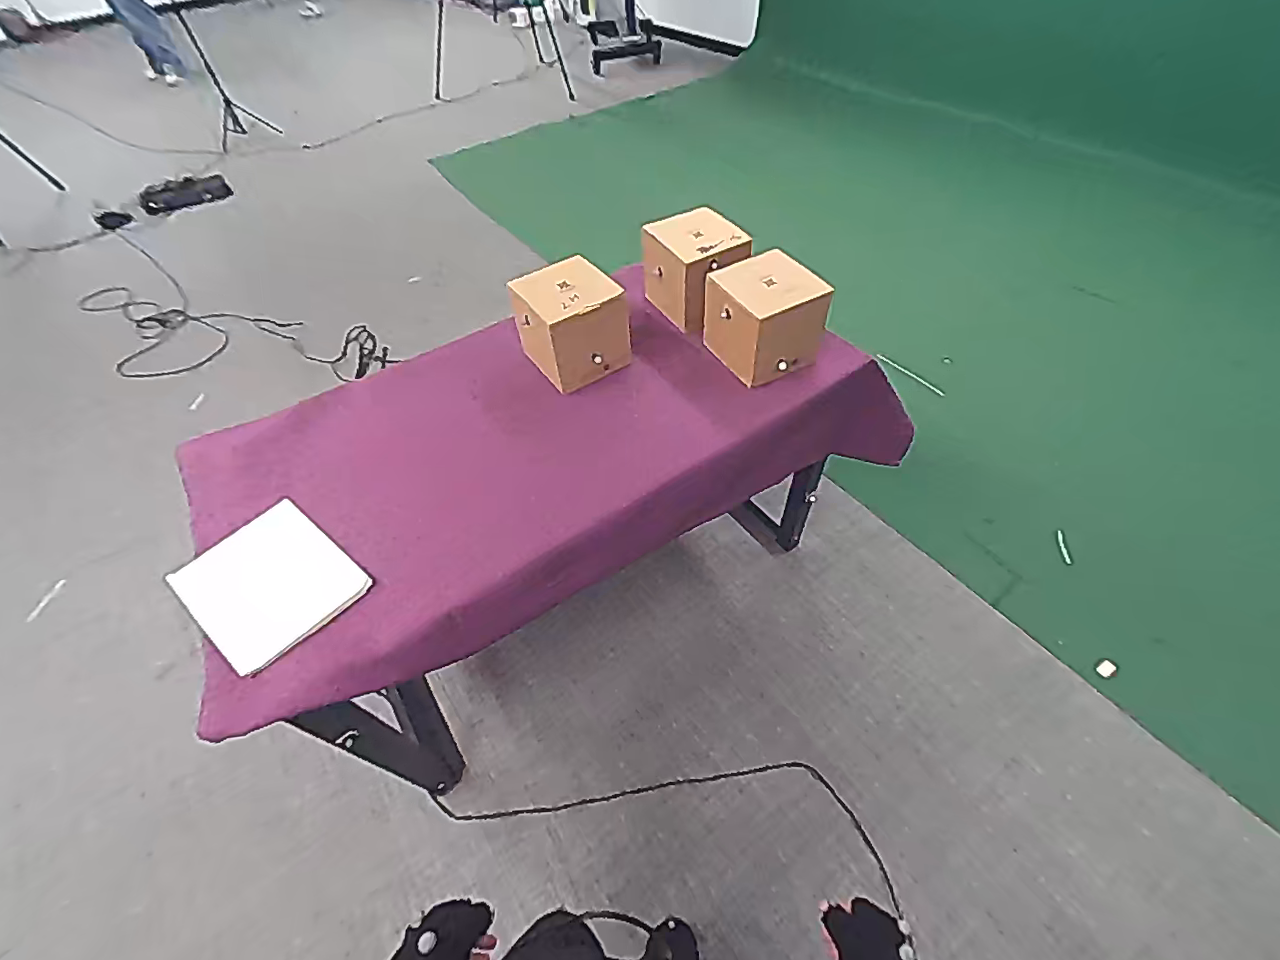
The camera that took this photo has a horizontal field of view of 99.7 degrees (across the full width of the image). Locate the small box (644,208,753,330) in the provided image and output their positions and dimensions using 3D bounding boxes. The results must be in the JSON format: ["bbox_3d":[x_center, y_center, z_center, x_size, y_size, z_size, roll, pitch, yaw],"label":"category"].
[{"bbox_3d":[0.121,-0.457,1.174,0.168,0.176,0.179,-26,55,-16],"label":"small box"}]

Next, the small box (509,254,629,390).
[{"bbox_3d":[-0.136,-0.311,1.071,0.168,0.176,0.179,-30,57,-19],"label":"small box"}]
